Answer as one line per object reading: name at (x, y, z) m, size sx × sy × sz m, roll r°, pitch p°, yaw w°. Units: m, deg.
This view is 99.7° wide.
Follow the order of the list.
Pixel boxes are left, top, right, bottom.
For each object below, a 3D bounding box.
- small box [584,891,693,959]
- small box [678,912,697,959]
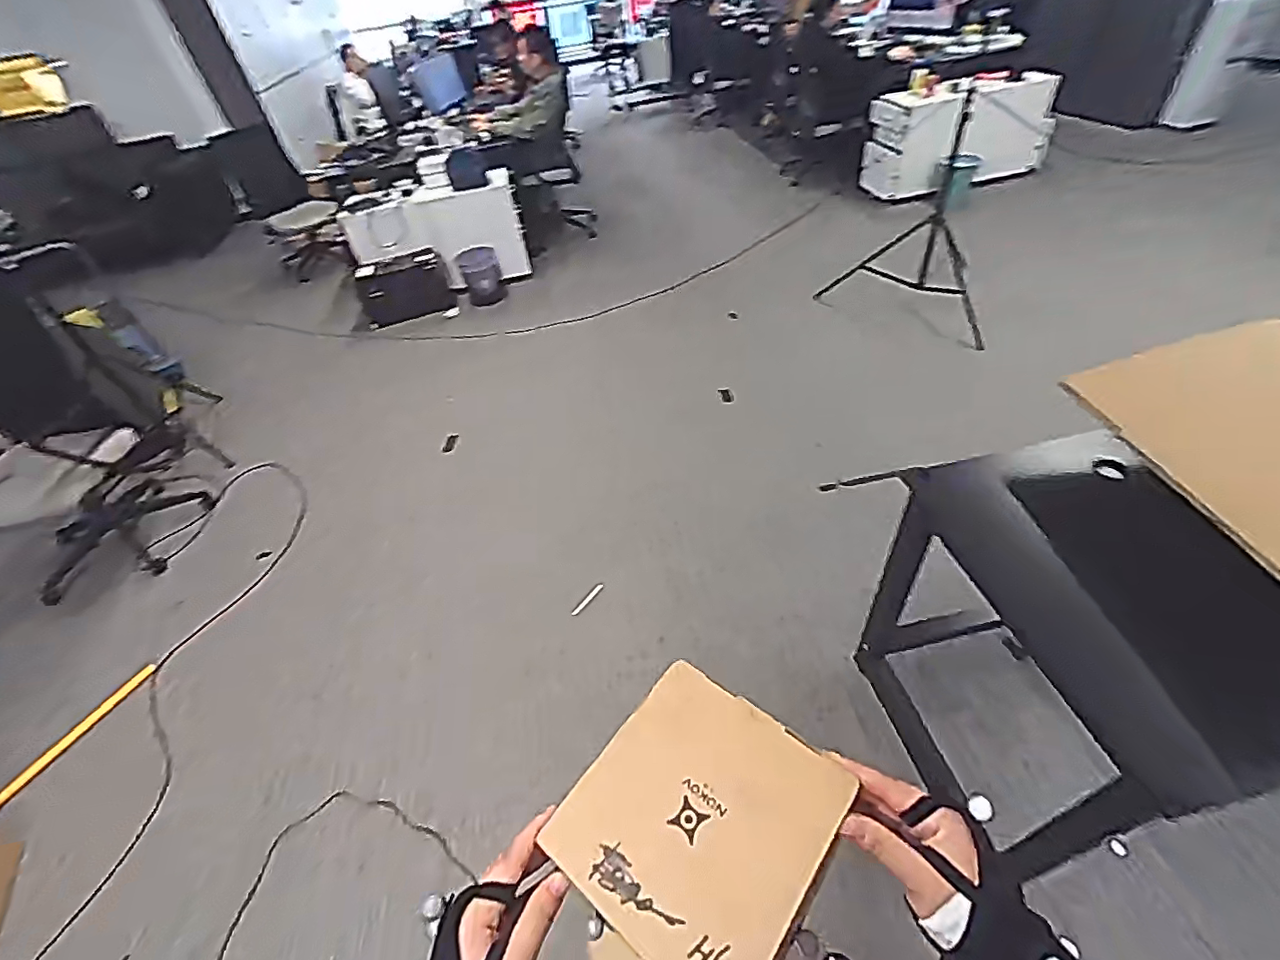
small box at (0.013, 0.869, 0.948) m, size 0.168 × 0.176 × 0.179 m, roll -17°, pitch 43°, yaw -9°
small box at (0.036, 0.988, 1.056) m, size 0.168 × 0.176 × 0.179 m, roll -16°, pitch 45°, yaw -6°
